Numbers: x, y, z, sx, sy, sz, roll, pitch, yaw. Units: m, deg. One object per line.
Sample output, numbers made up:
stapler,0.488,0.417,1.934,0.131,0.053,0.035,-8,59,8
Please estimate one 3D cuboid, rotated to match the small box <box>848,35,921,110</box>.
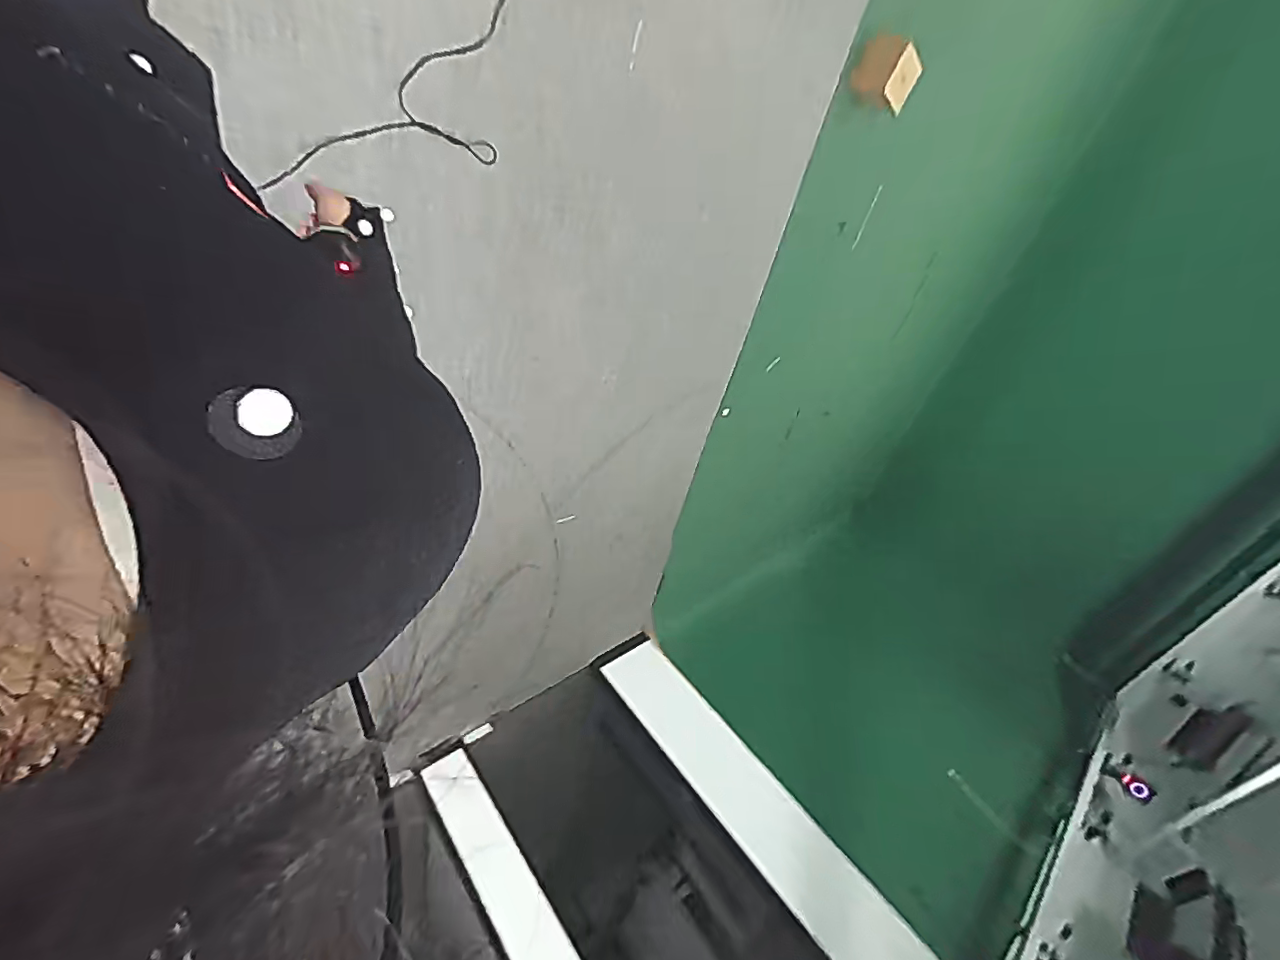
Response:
small box,0.926,-1.554,2.058,0.179,0.176,0.168,0,125,-50
